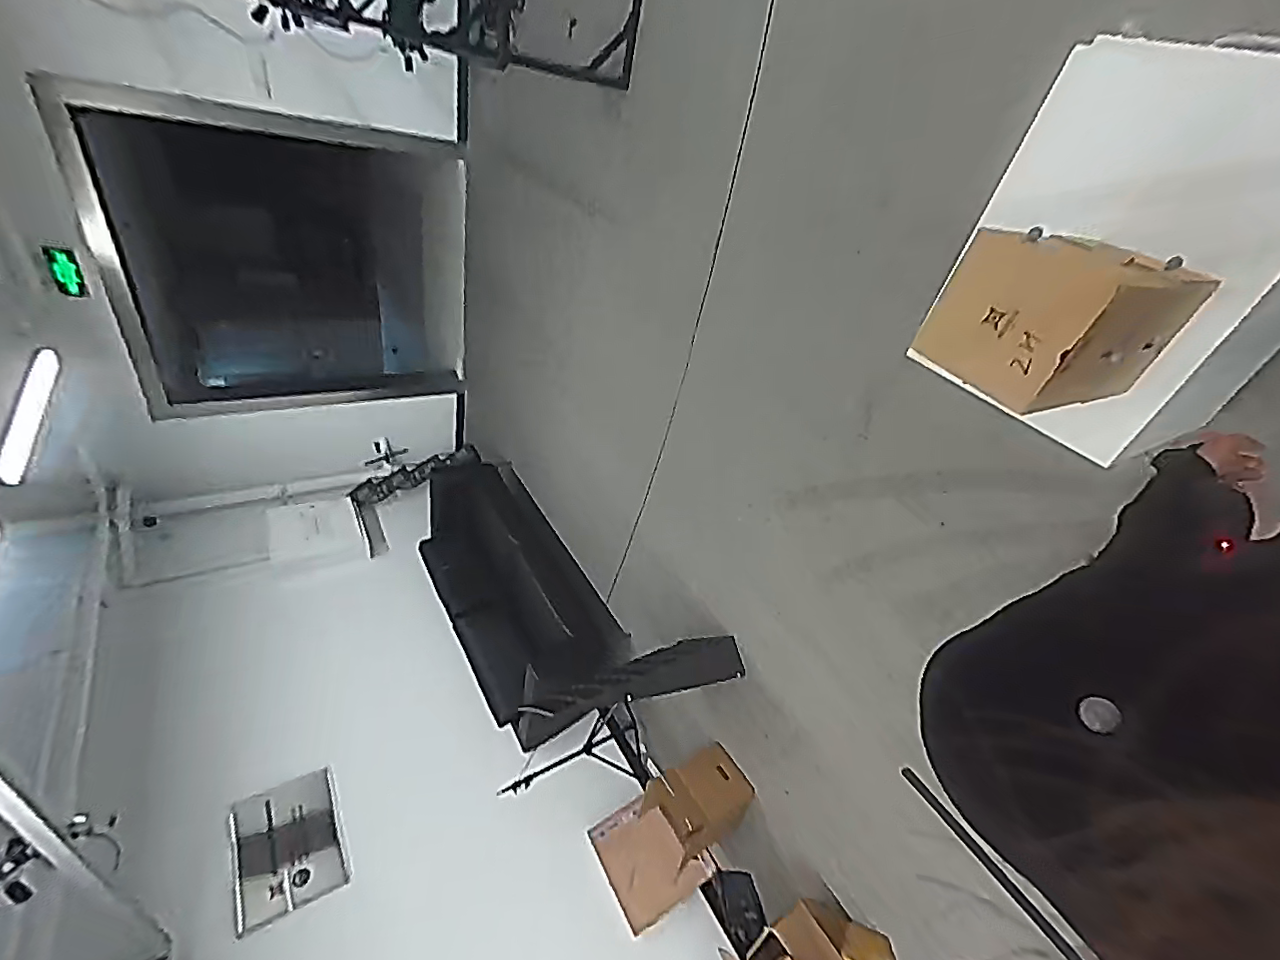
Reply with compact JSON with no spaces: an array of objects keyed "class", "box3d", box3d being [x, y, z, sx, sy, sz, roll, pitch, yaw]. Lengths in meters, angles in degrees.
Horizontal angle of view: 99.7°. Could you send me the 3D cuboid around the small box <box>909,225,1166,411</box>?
[{"class":"small box","box3d":[0.504,-0.210,0.699,0.179,0.176,0.168,52,141,36]}]
